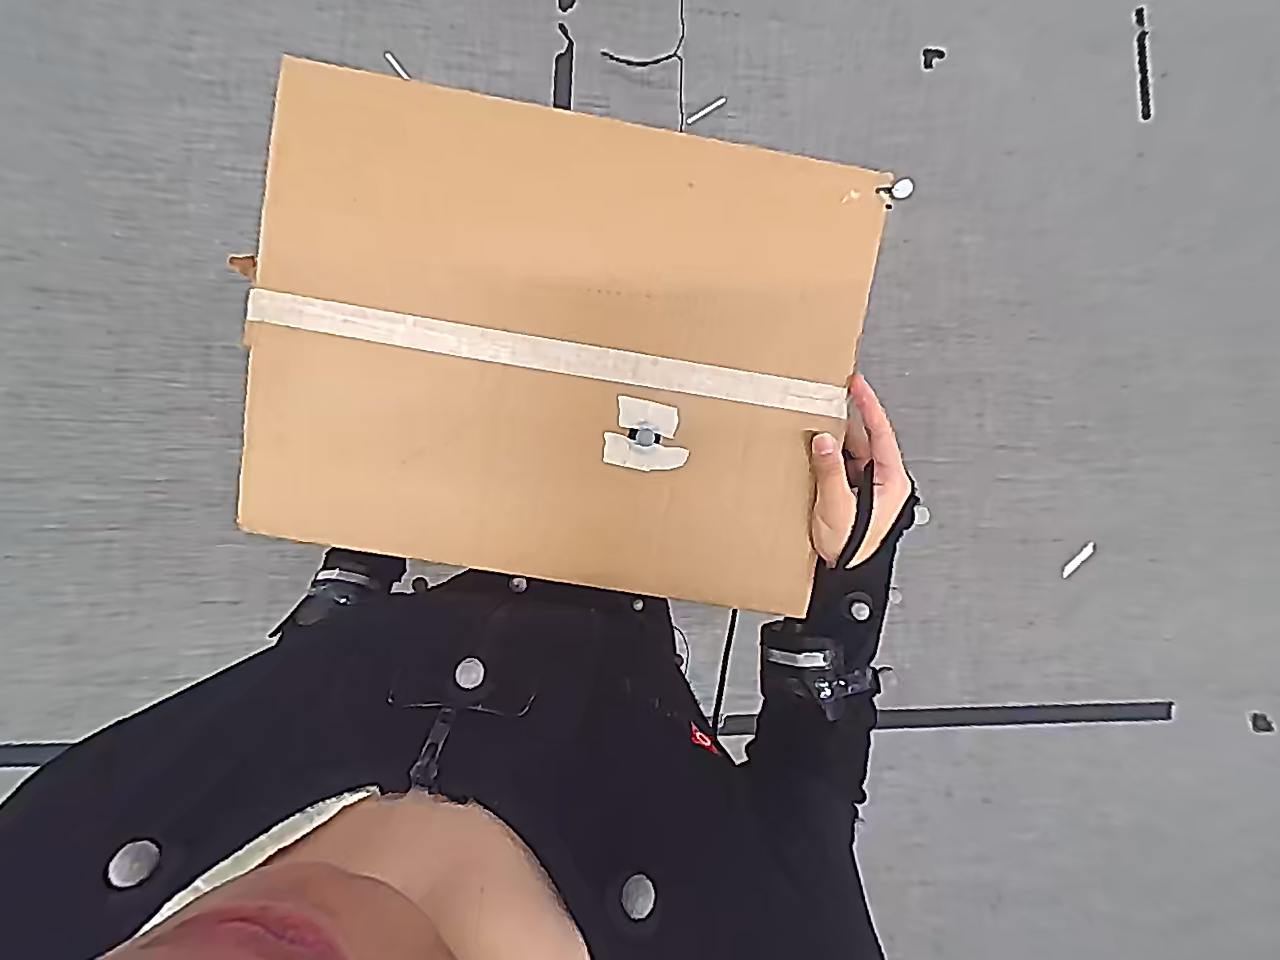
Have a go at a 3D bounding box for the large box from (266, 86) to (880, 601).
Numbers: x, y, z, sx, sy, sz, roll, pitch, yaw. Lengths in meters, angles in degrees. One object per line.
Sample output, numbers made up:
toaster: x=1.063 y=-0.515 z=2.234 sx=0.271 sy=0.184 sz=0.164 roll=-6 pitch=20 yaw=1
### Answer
large box: x=-0.056 y=-0.099 z=0.527 sx=0.408 sy=0.320 sz=0.320 roll=9 pitch=96 yaw=-4
